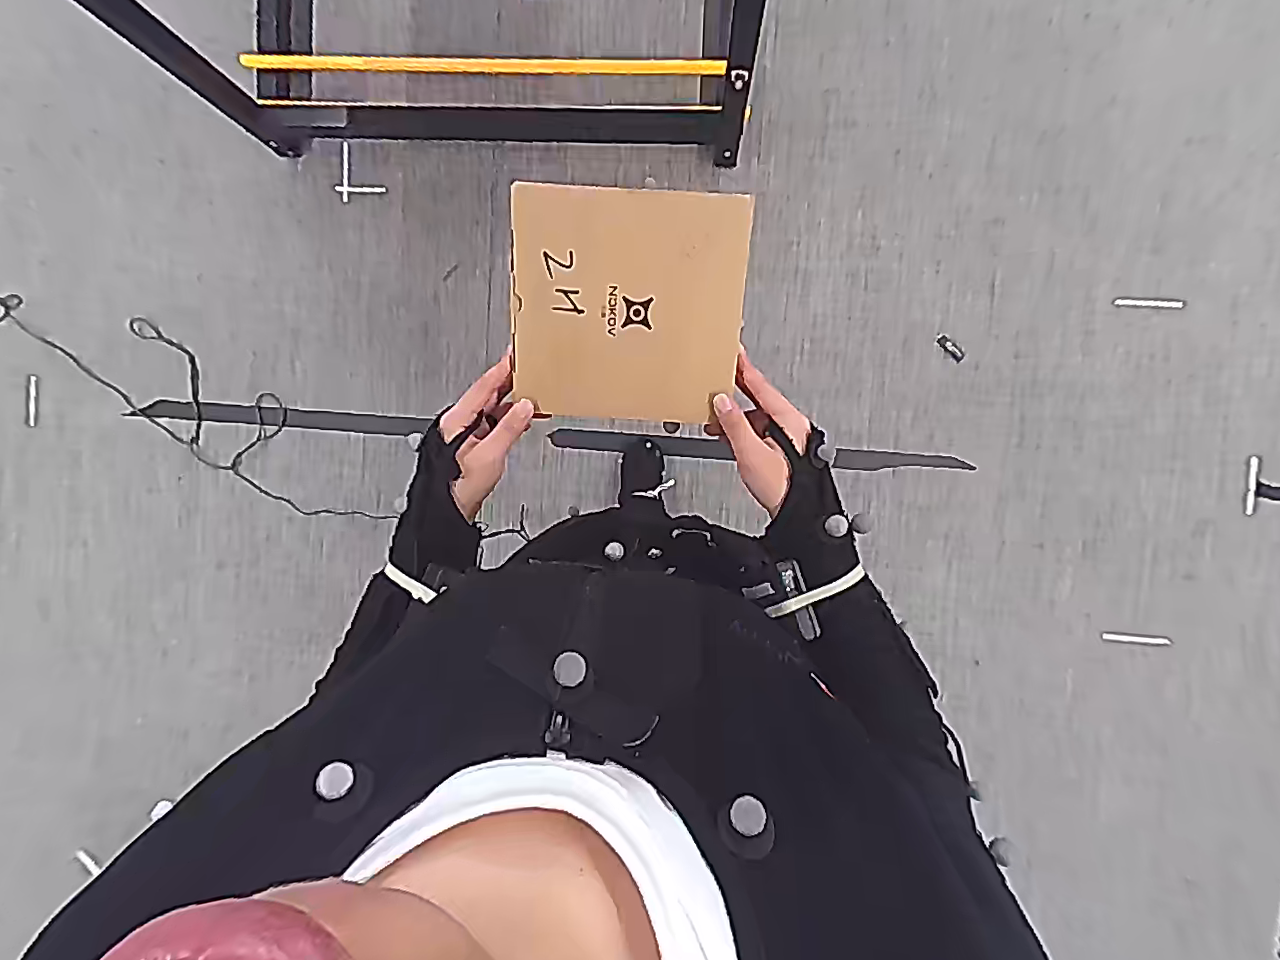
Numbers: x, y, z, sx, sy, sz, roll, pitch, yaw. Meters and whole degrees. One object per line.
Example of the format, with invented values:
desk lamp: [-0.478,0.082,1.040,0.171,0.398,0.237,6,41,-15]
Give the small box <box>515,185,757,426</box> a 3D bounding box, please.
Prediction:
small box: [-0.006,-0.151,0.484,0.179,0.176,0.168,4,107,1]
